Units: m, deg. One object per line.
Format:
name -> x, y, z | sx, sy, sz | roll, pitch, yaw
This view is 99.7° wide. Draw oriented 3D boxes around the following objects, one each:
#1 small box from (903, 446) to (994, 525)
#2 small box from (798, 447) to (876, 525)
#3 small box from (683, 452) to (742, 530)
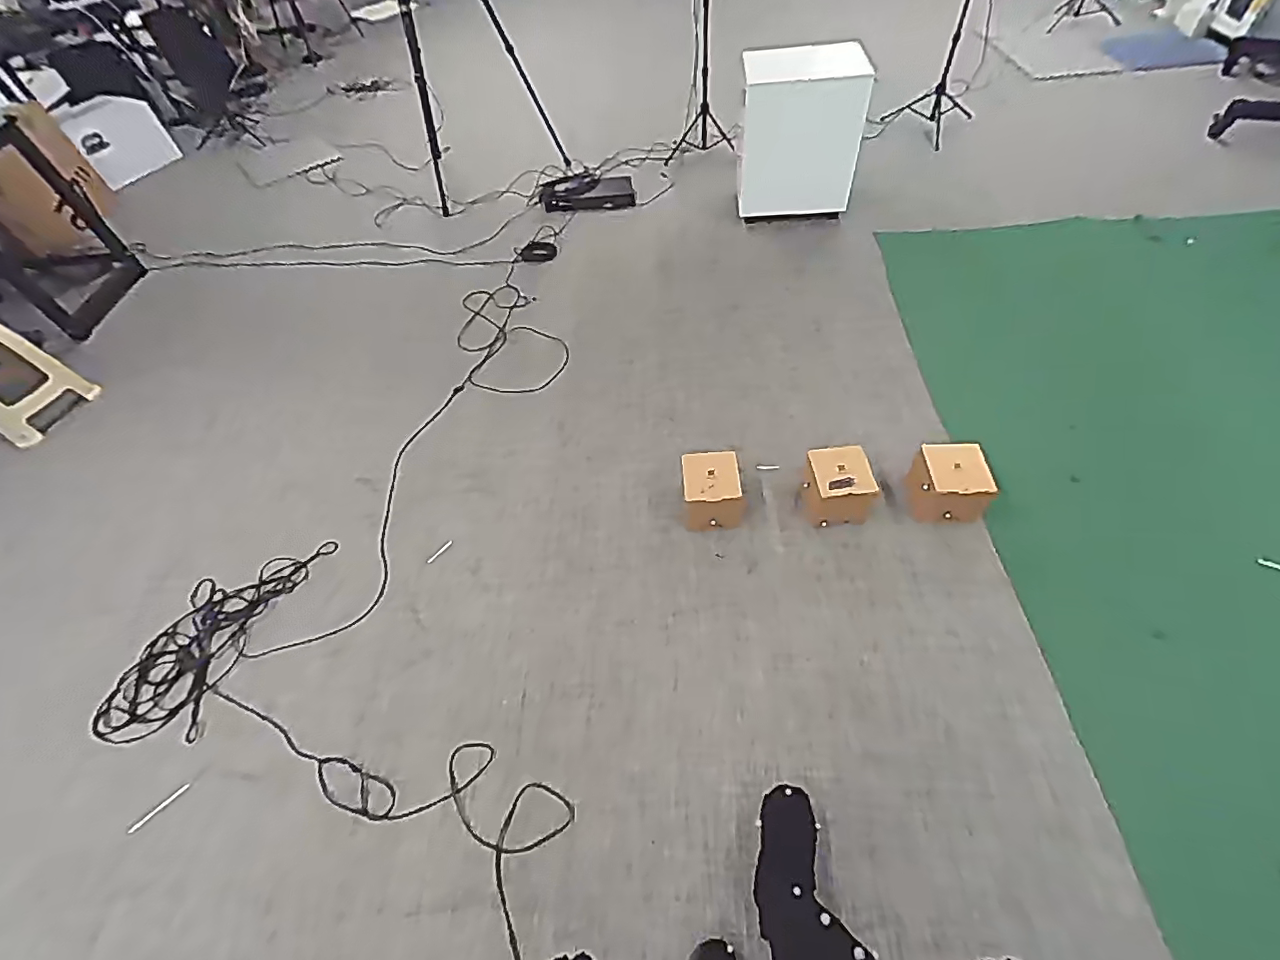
small box -> 0.915, 0.017, 1.623 | 0.168, 0.176, 0.179 | -1, 54, 5
small box -> 0.592, 0.025, 1.644 | 0.168, 0.176, 0.179 | -5, 53, 1
small box -> 0.218, 0.035, 1.668 | 0.168, 0.176, 0.179 | -4, 54, 4
